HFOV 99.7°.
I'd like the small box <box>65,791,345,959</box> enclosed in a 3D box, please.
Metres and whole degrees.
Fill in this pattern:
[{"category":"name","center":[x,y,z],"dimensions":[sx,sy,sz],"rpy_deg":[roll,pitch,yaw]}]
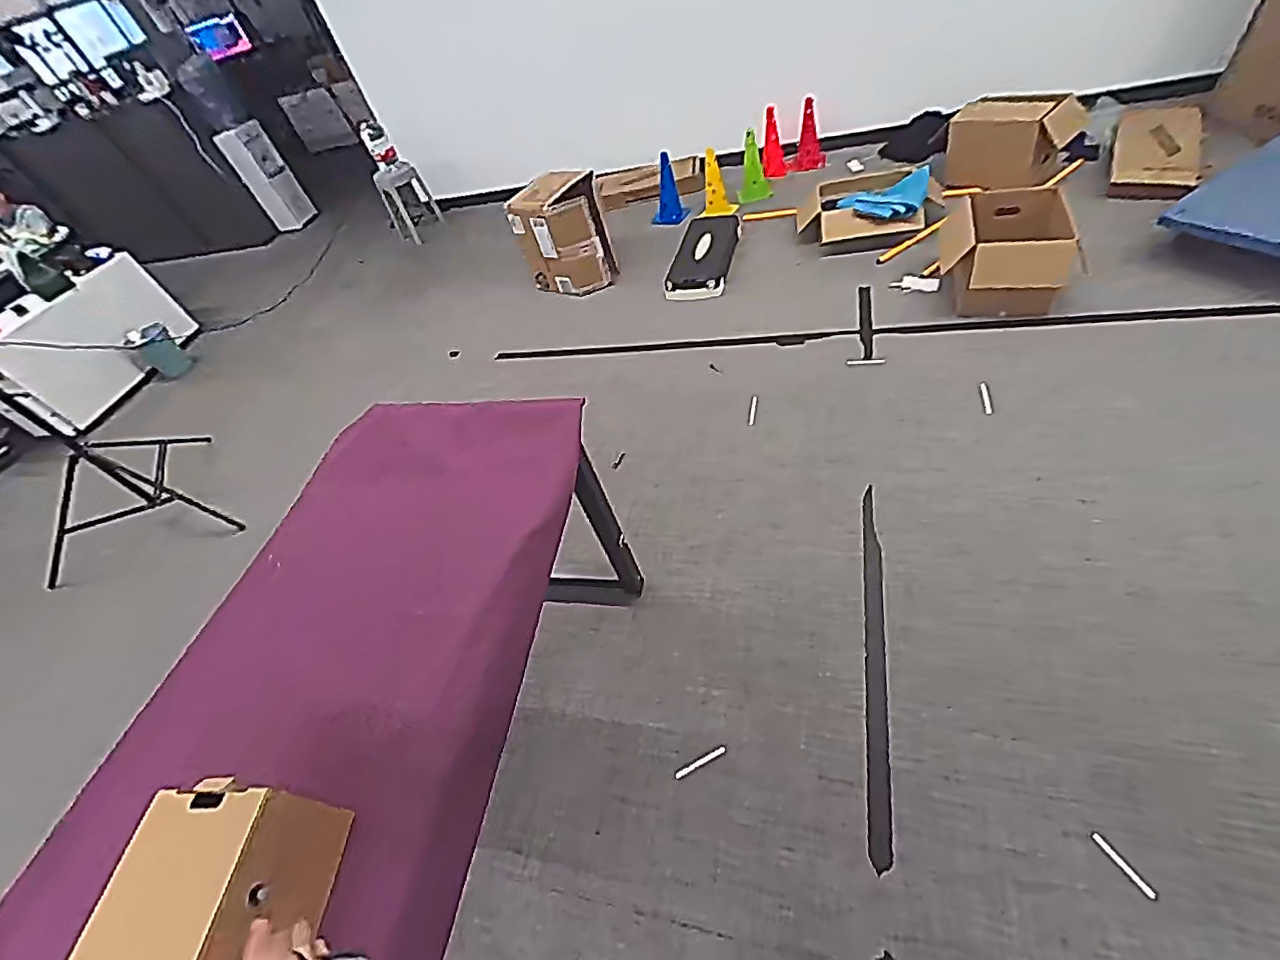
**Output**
[{"category":"small box","center":[-0.496,0.488,0.647],"dimensions":[0.168,0.176,0.179],"rpy_deg":[-7,49,11]}]
